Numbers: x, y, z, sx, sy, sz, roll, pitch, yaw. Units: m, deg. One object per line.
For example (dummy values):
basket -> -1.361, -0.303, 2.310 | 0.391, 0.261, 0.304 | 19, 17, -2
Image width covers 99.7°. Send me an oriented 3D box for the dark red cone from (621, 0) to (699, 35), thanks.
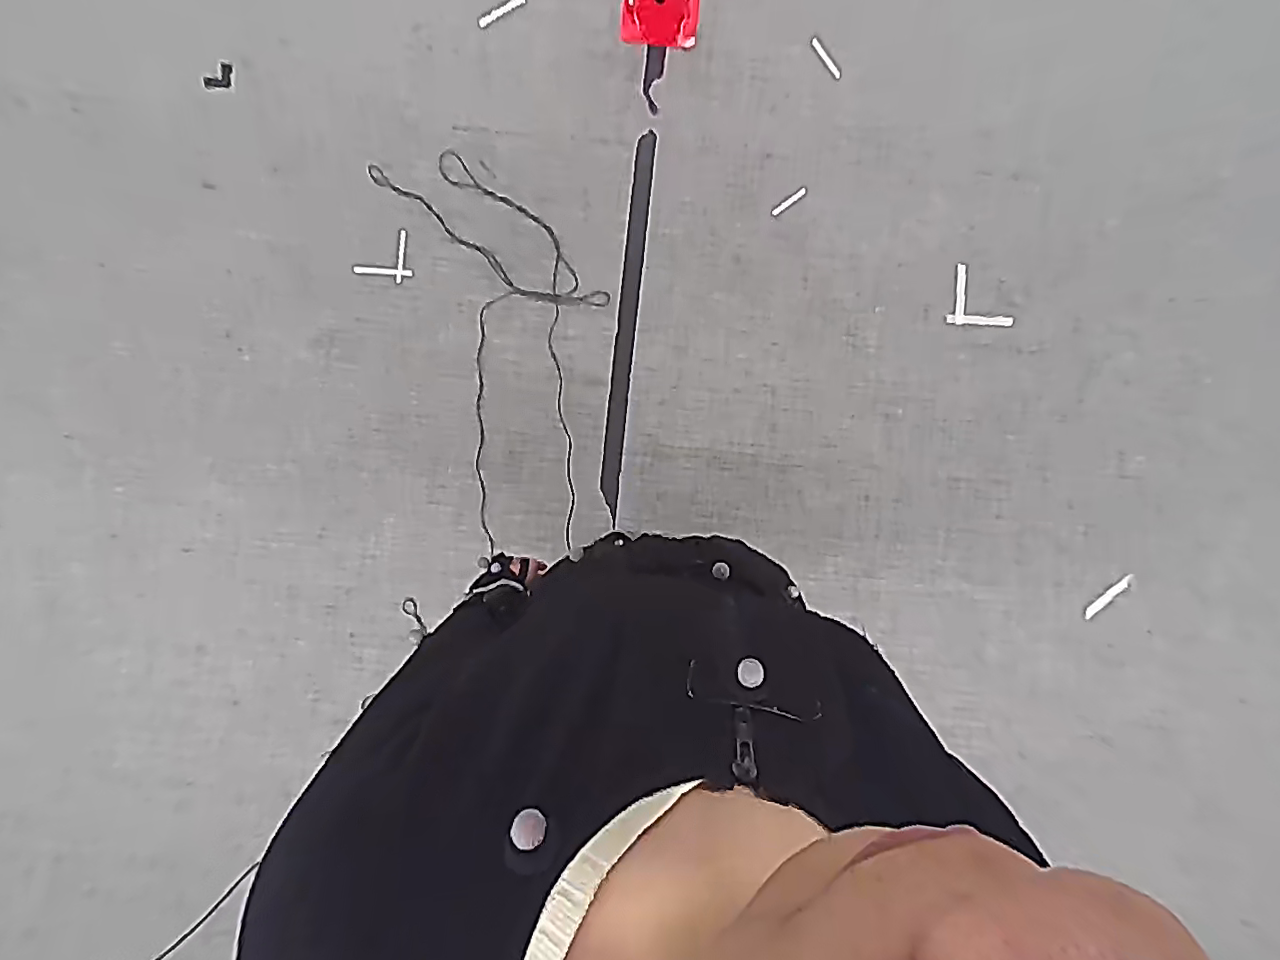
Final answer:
dark red cone -> 0.052, -1.242, 1.212 | 0.201, 0.394, 0.202 | 5, 89, 1
